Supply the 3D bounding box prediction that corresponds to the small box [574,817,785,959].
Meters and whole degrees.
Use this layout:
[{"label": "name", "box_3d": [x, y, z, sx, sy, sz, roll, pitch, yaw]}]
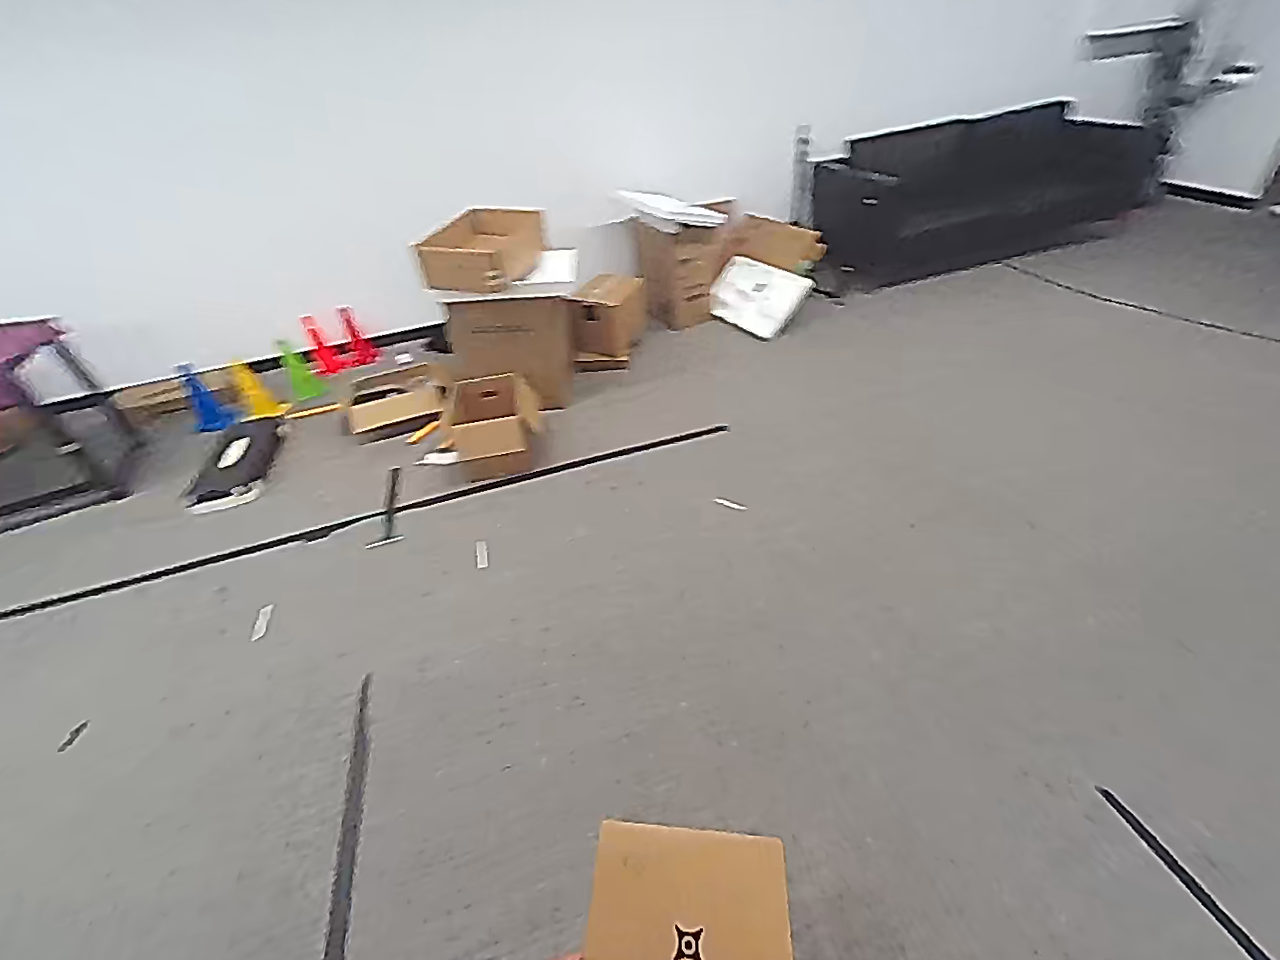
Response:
[{"label": "small box", "box_3d": [0.030, 0.426, 0.468, 0.168, 0.176, 0.179, 2, 38, 3]}]
